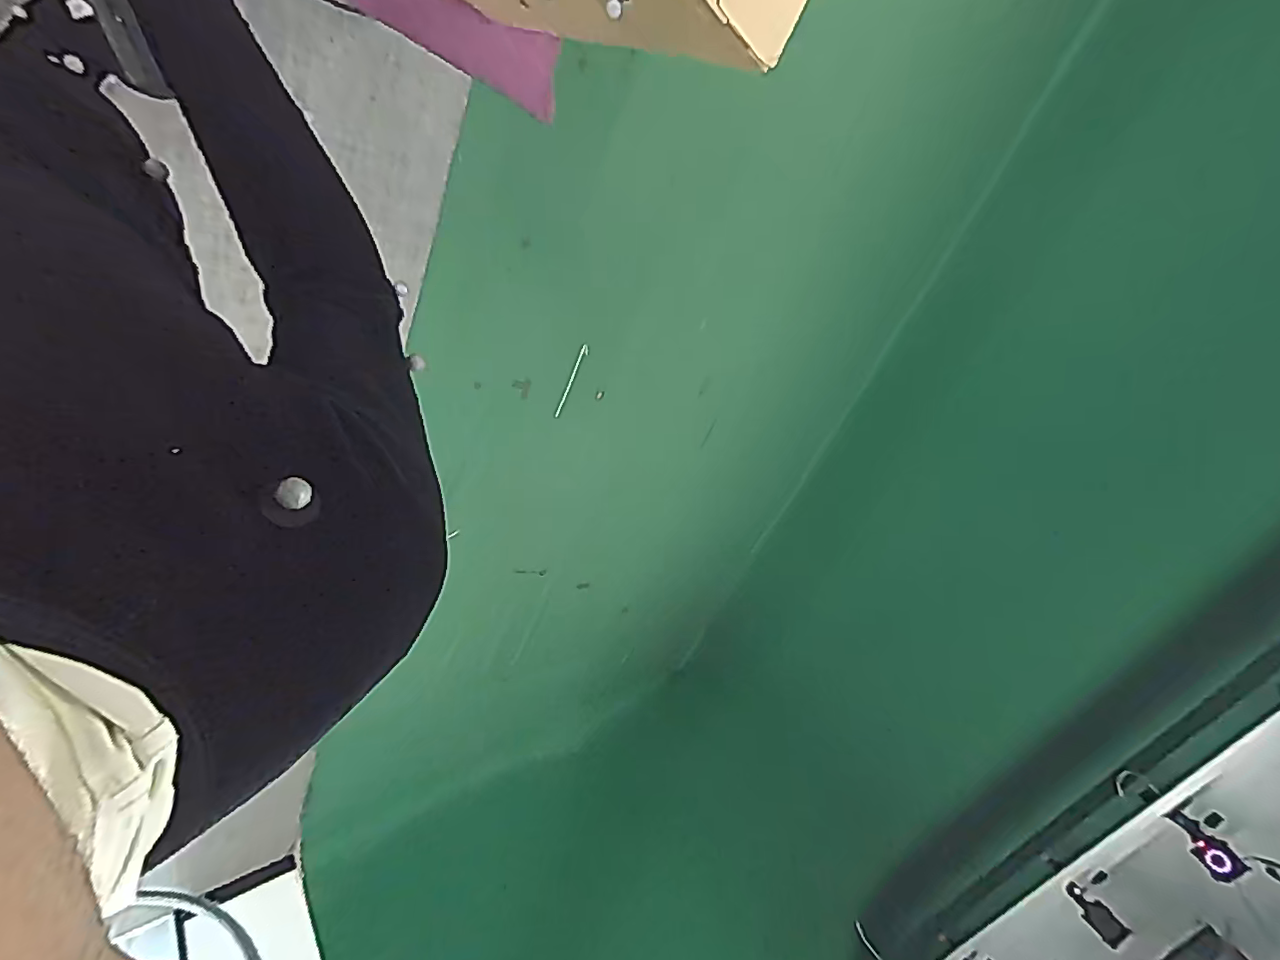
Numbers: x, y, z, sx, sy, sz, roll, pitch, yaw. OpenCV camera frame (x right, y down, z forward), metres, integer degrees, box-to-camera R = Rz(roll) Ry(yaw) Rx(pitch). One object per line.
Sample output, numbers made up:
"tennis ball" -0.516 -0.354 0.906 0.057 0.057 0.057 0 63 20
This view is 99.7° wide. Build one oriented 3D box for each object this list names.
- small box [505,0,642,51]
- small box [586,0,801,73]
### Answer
"small box" -0.066 -0.537 0.485 0.168 0.176 0.179 4 120 -47
"small box" 0.035 -0.446 0.391 0.168 0.176 0.179 5 121 -48
